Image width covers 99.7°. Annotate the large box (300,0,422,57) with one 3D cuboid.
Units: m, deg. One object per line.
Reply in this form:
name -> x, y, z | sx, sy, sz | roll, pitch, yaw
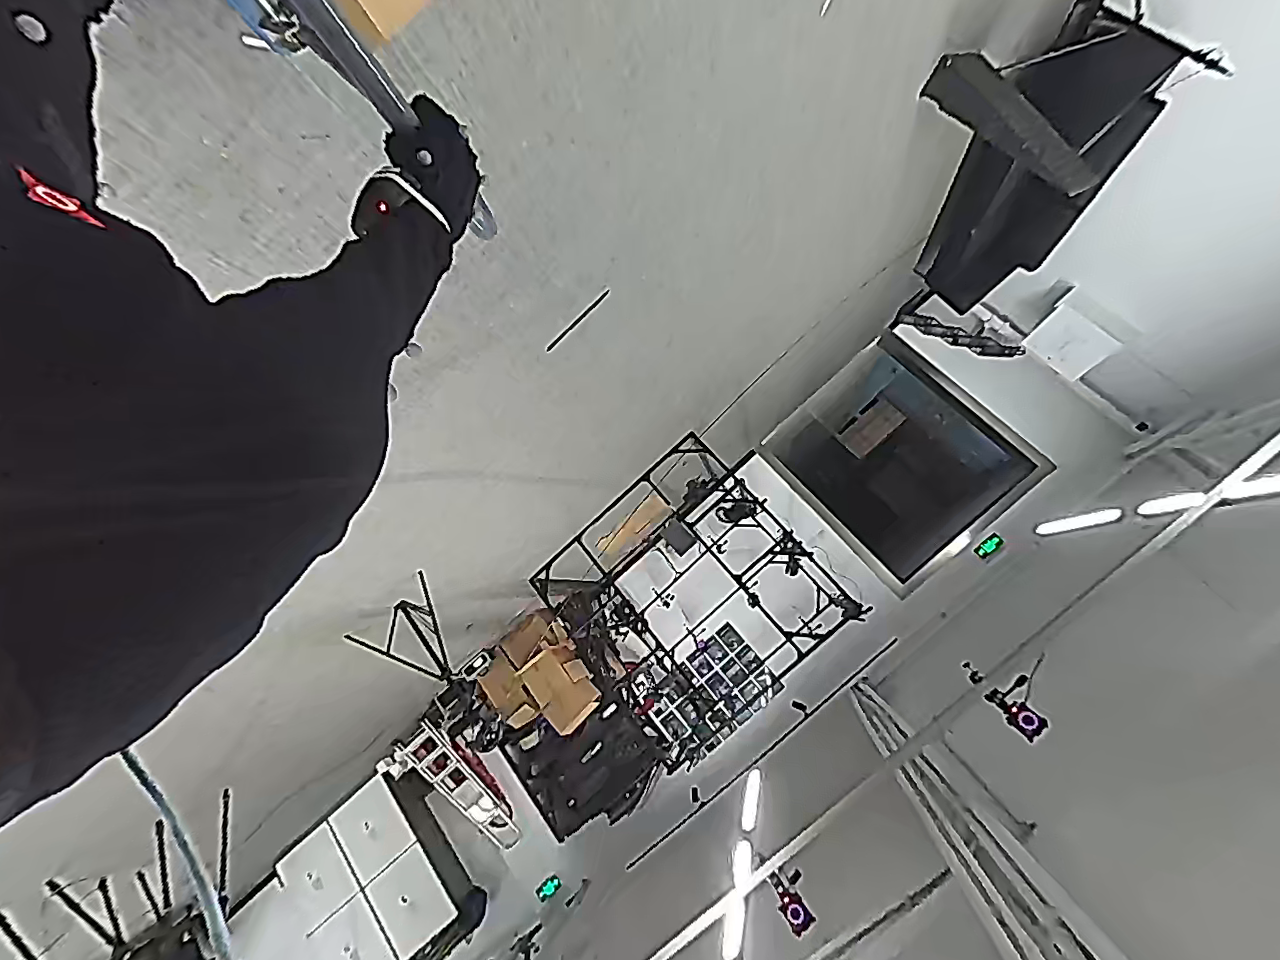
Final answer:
large box -> -0.447, -0.873, 0.654 | 0.320, 0.320, 0.408 | -41, 165, 2
